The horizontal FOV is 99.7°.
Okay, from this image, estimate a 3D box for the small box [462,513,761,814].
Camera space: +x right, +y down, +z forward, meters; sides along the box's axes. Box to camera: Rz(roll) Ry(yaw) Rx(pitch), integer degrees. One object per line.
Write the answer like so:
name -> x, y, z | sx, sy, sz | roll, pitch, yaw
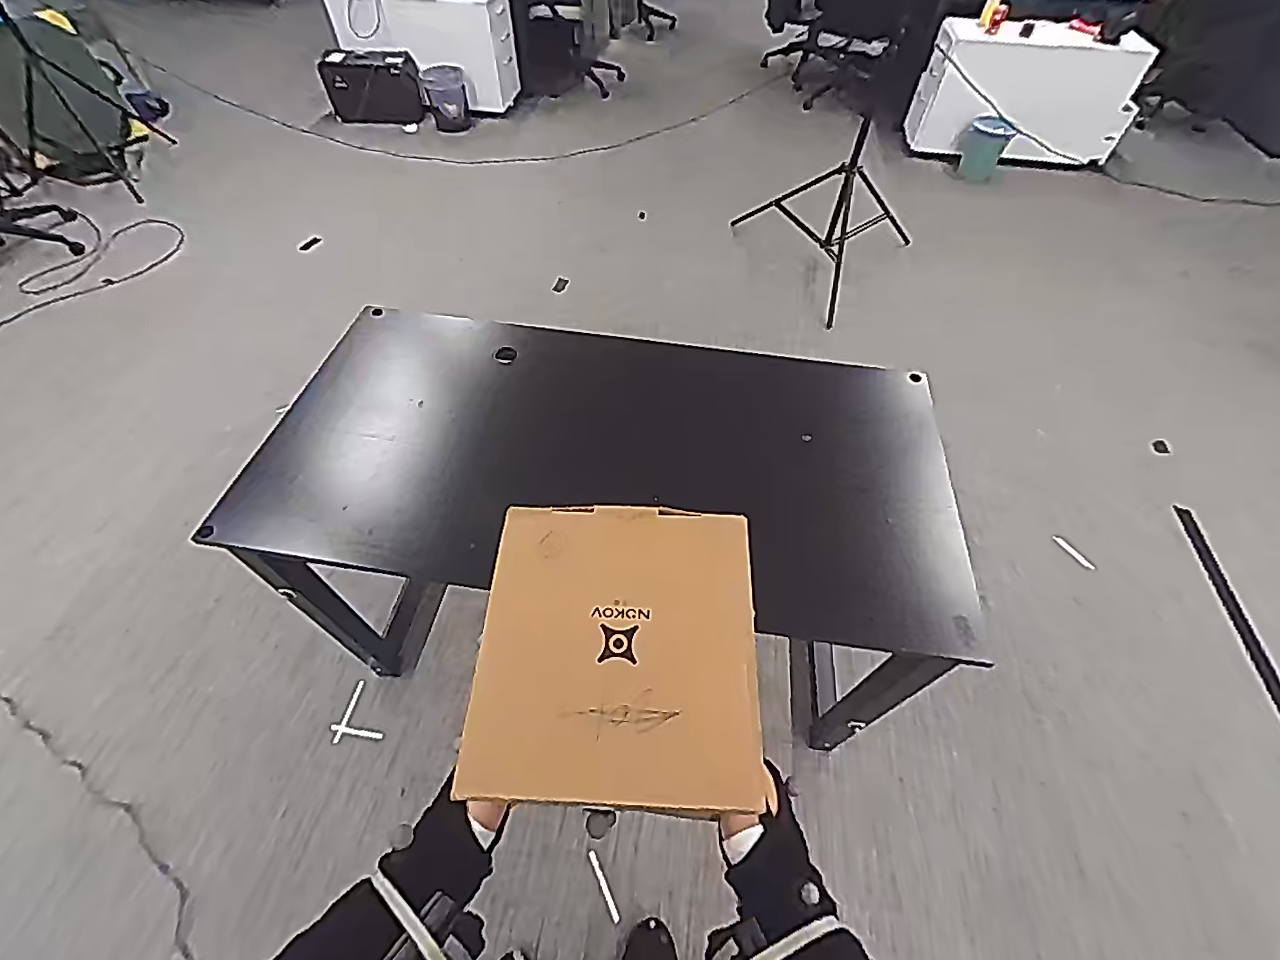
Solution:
small box -> -0.013, 0.141, 0.401 | 0.168, 0.176, 0.179 | 2, 59, 1
